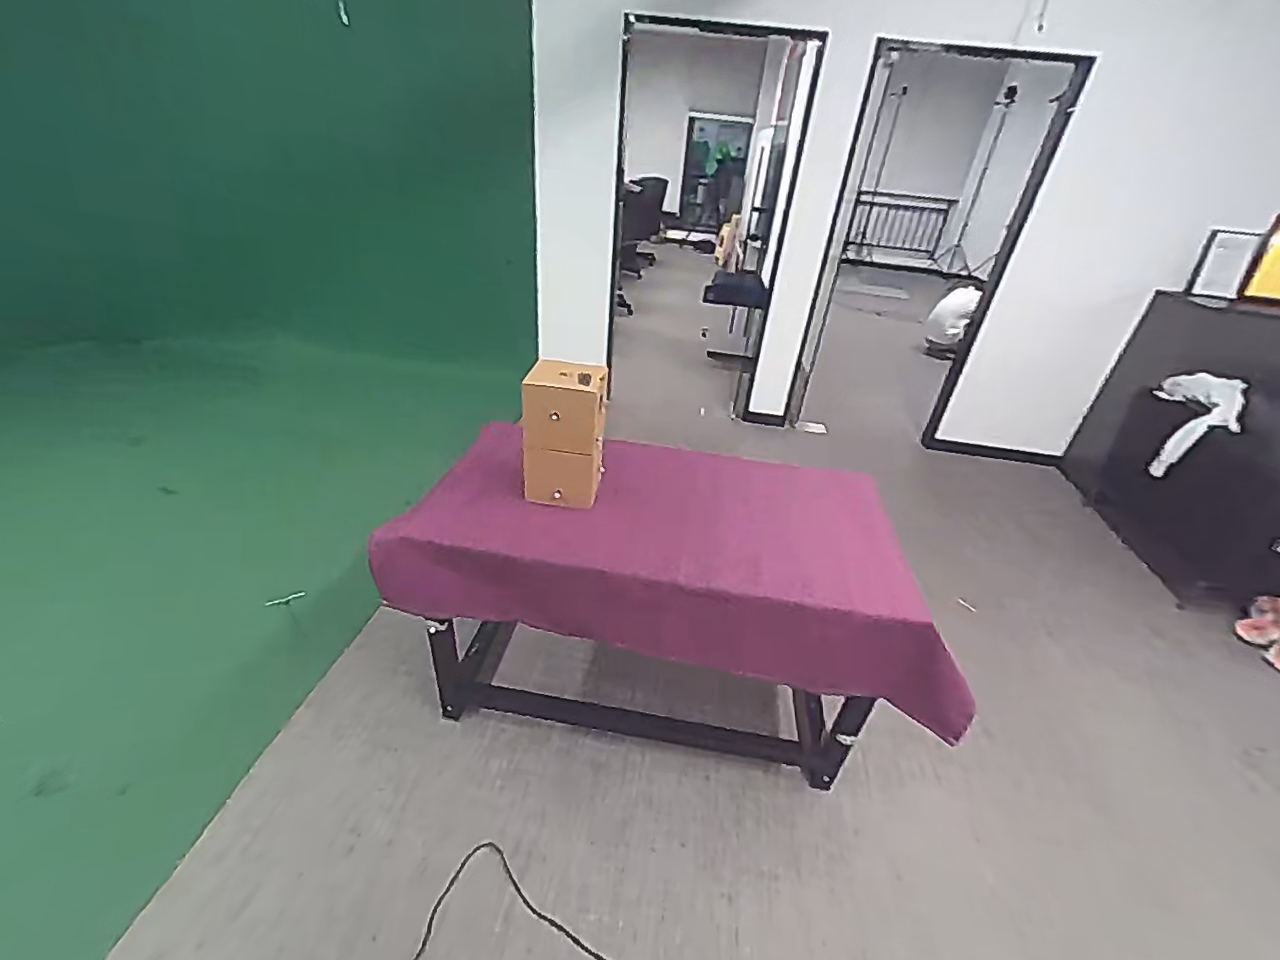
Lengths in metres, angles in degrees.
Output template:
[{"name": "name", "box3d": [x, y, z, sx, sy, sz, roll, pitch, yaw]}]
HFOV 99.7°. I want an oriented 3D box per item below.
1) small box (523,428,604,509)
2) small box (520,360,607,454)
[{"name": "small box", "box3d": [-0.199, -0.041, 1.425, 0.179, 0.176, 0.168, 8, 33, 2]}, {"name": "small box", "box3d": [-0.184, -0.178, 1.335, 0.179, 0.176, 0.168, 7, 33, 3]}]
